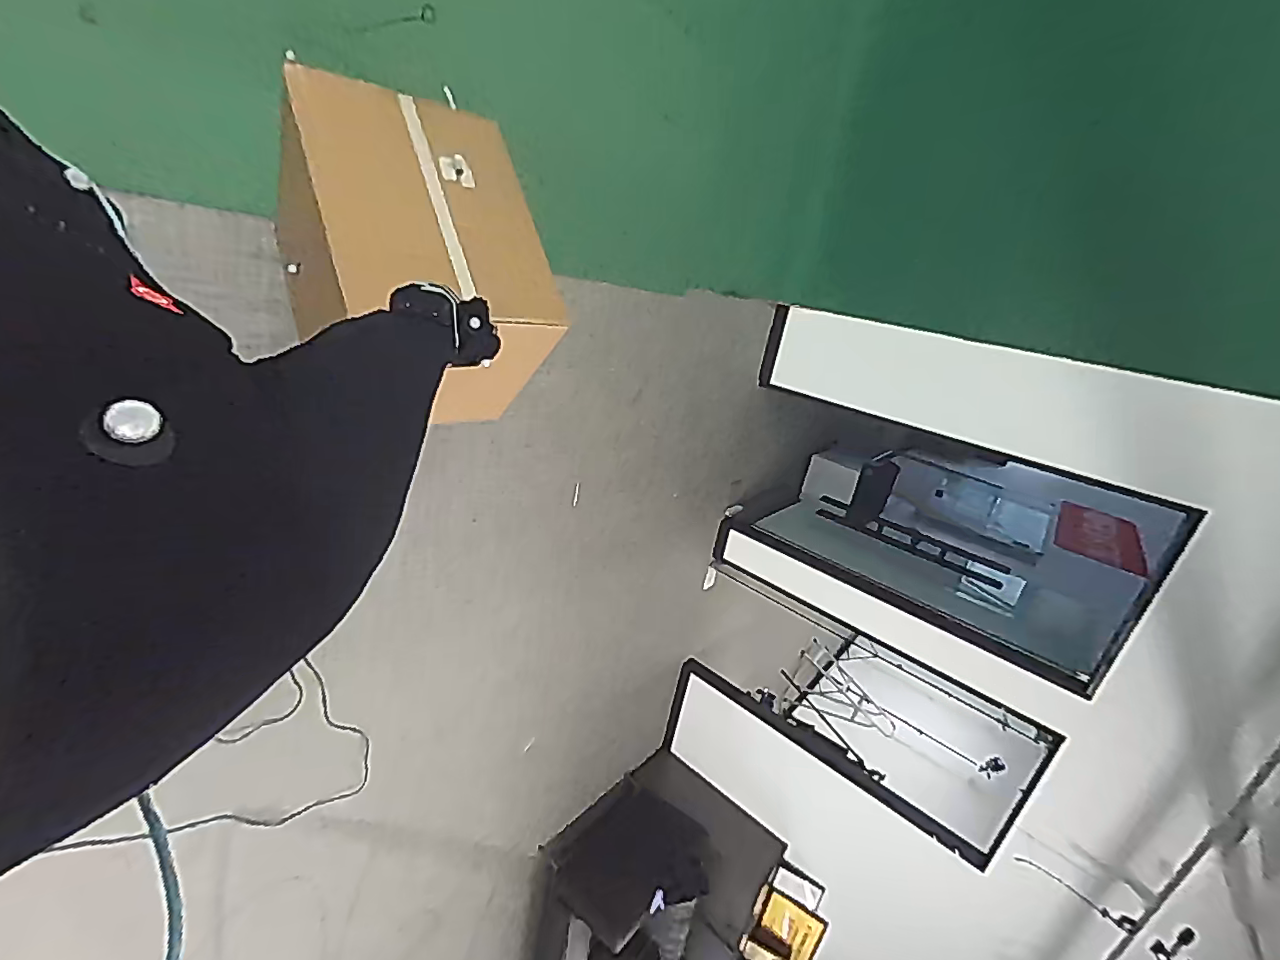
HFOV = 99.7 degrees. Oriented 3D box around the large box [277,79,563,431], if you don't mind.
[{"bbox_3d":[-0.385,-0.337,0.904,0.320,0.408,0.320,-10,162,-40],"label":"large box"}]
